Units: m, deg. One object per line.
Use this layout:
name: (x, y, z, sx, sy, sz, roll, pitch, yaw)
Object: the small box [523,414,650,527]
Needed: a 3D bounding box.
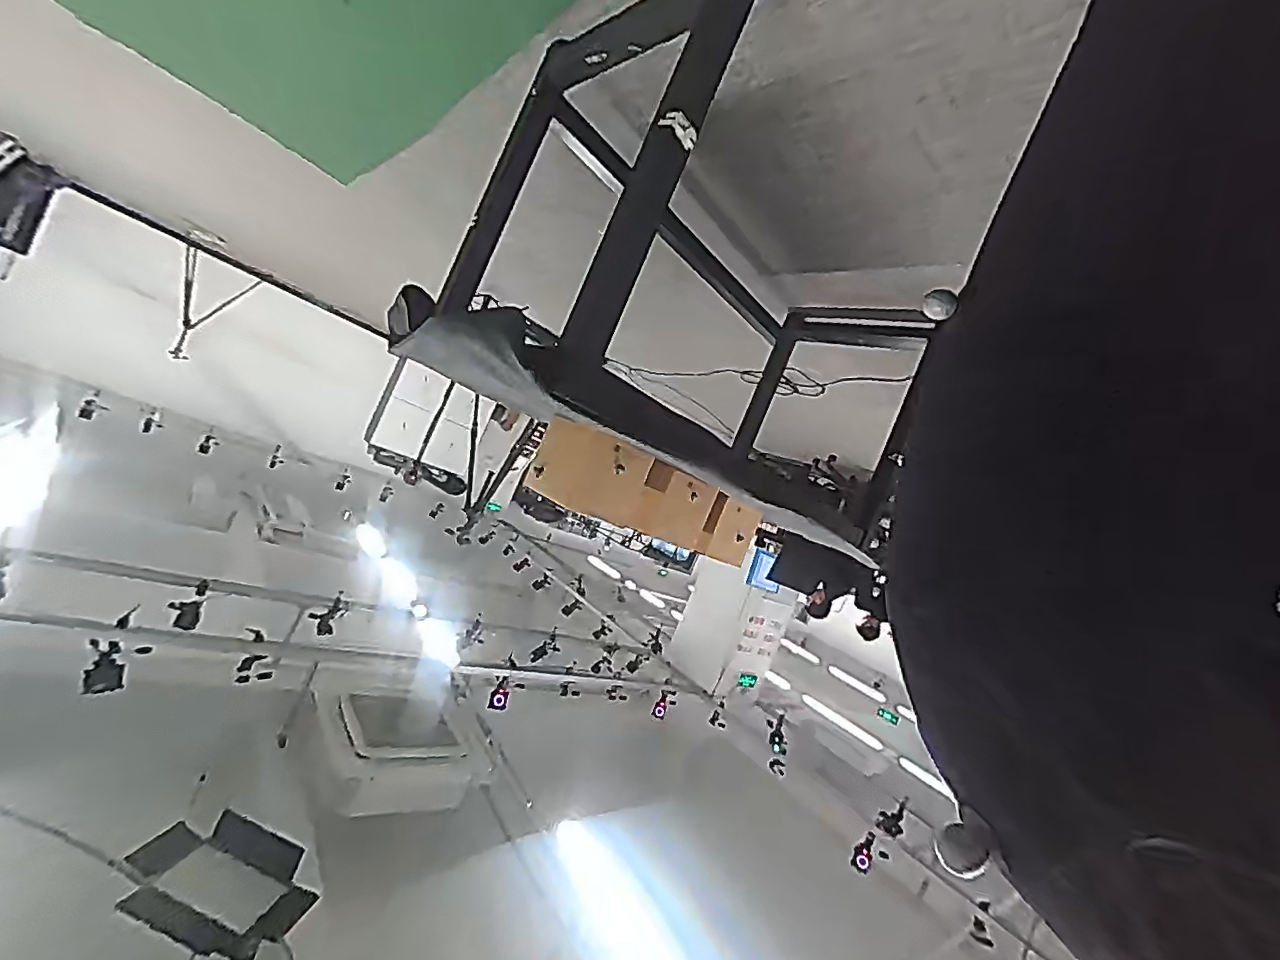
small box: (-0.108, -0.025, 1.128, 0.168, 0.176, 0.179, 24, 179, -42)
